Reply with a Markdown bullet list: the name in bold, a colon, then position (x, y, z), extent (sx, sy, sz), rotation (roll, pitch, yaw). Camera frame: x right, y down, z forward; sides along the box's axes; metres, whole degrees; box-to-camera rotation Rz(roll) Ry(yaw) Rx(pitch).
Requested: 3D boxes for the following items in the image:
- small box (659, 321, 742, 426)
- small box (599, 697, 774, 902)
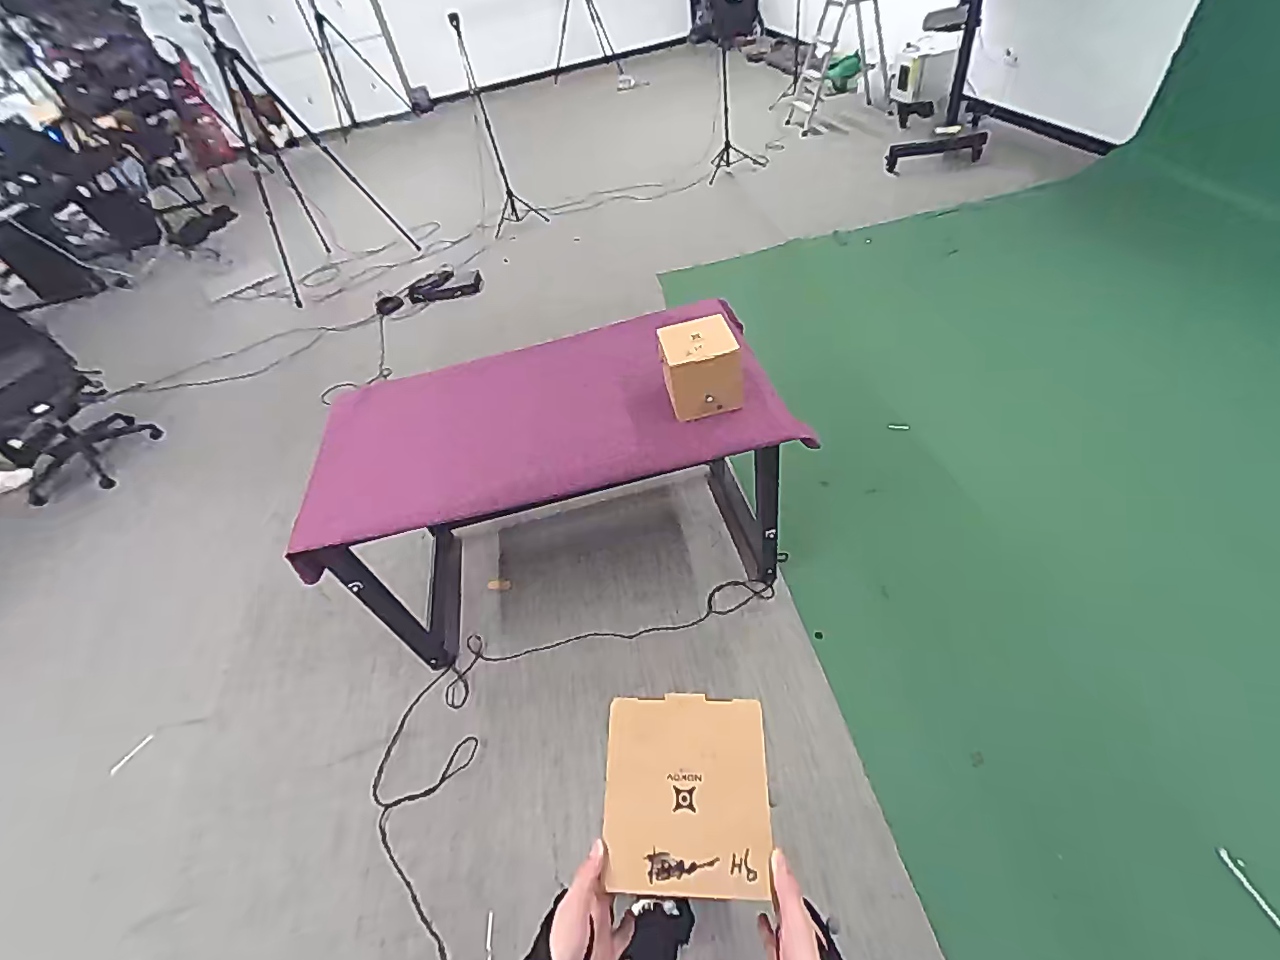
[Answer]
- **small box**: position (0.148, -0.260, 1.323), extent (0.168, 0.176, 0.179), rotation (-13, 44, 2)
- **small box**: position (0.057, 0.357, 0.612), extent (0.168, 0.176, 0.179), rotation (-3, 56, 9)
